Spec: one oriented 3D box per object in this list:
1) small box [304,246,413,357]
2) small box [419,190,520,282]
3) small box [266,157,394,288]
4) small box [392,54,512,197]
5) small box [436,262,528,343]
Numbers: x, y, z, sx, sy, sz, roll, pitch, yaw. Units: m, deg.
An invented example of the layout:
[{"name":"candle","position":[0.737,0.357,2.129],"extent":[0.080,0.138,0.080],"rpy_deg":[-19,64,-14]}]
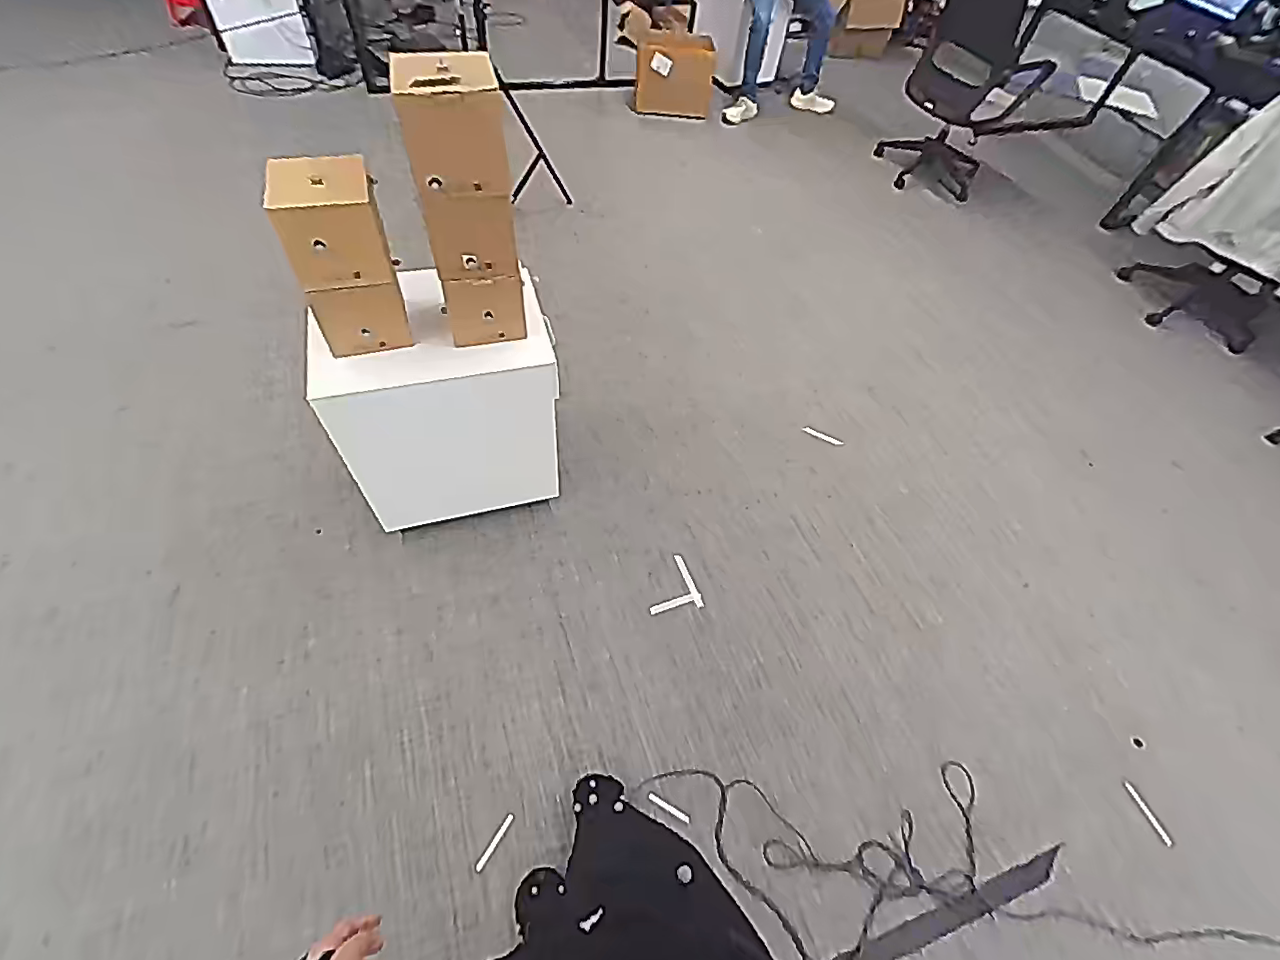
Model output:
[{"name":"small box","position":[-0.602,-0.393,1.164],"extent":[0.168,0.176,0.179],"rpy_deg":[-14,58,-16]},{"name":"small box","position":[-0.342,-0.526,1.089],"extent":[0.168,0.176,0.179],"rpy_deg":[-12,58,-13]},{"name":"small box","position":[-0.582,-0.483,1.031],"extent":[0.168,0.176,0.179],"rpy_deg":[-13,57,-16]},{"name":"small box","position":[-0.327,-0.618,0.953],"extent":[0.168,0.176,0.179],"rpy_deg":[-11,55,-12]},{"name":"small box","position":[-0.354,-0.426,1.217],"extent":[0.168,0.176,0.179],"rpy_deg":[-12,59,-13]}]
